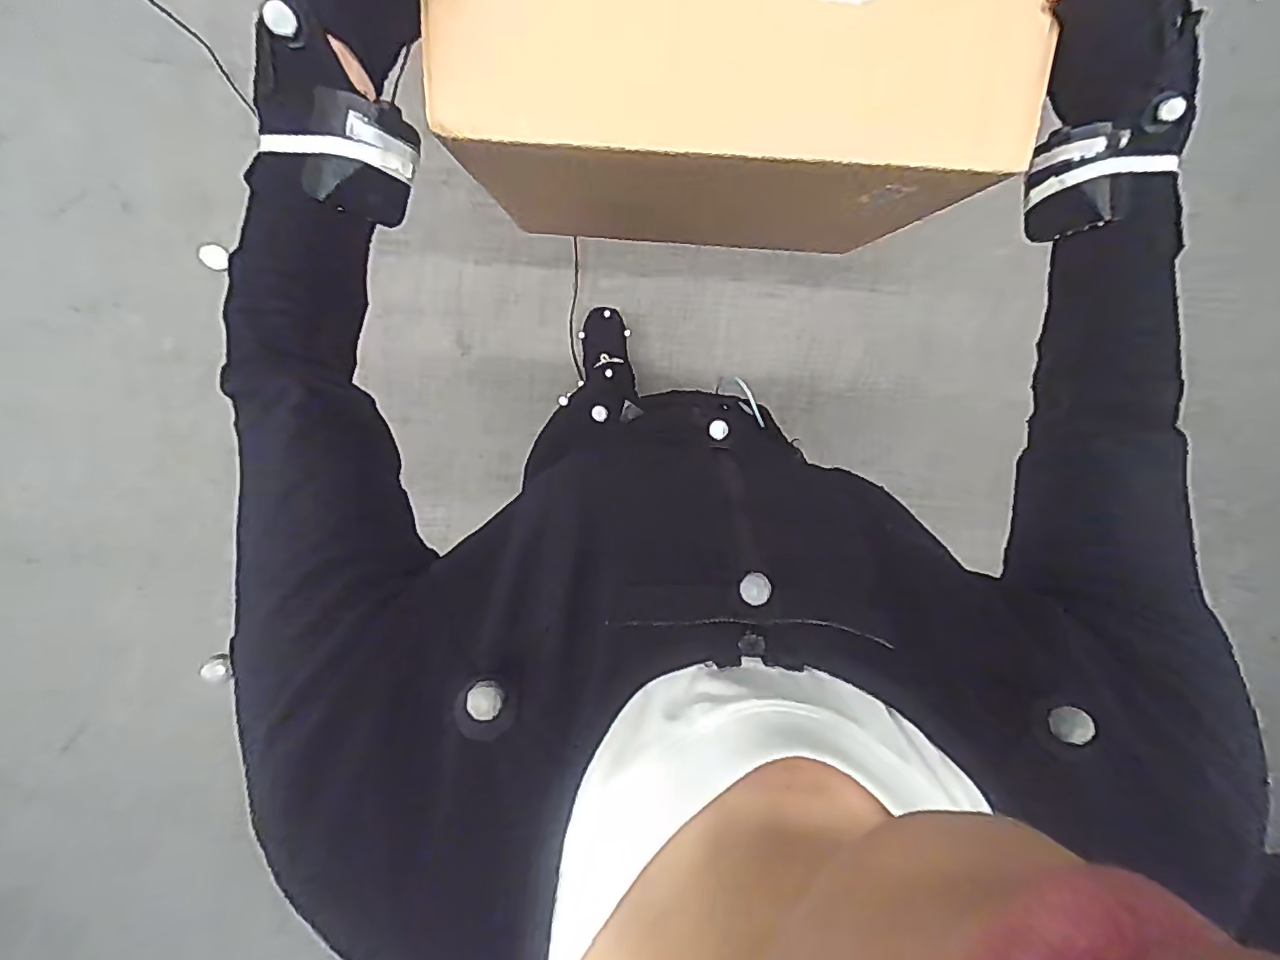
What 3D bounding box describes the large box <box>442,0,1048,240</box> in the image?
[{"bbox_3d":[0.066,-0.414,0.480,0.408,0.320,0.320,2,104,-3],"label":"large box"}]
